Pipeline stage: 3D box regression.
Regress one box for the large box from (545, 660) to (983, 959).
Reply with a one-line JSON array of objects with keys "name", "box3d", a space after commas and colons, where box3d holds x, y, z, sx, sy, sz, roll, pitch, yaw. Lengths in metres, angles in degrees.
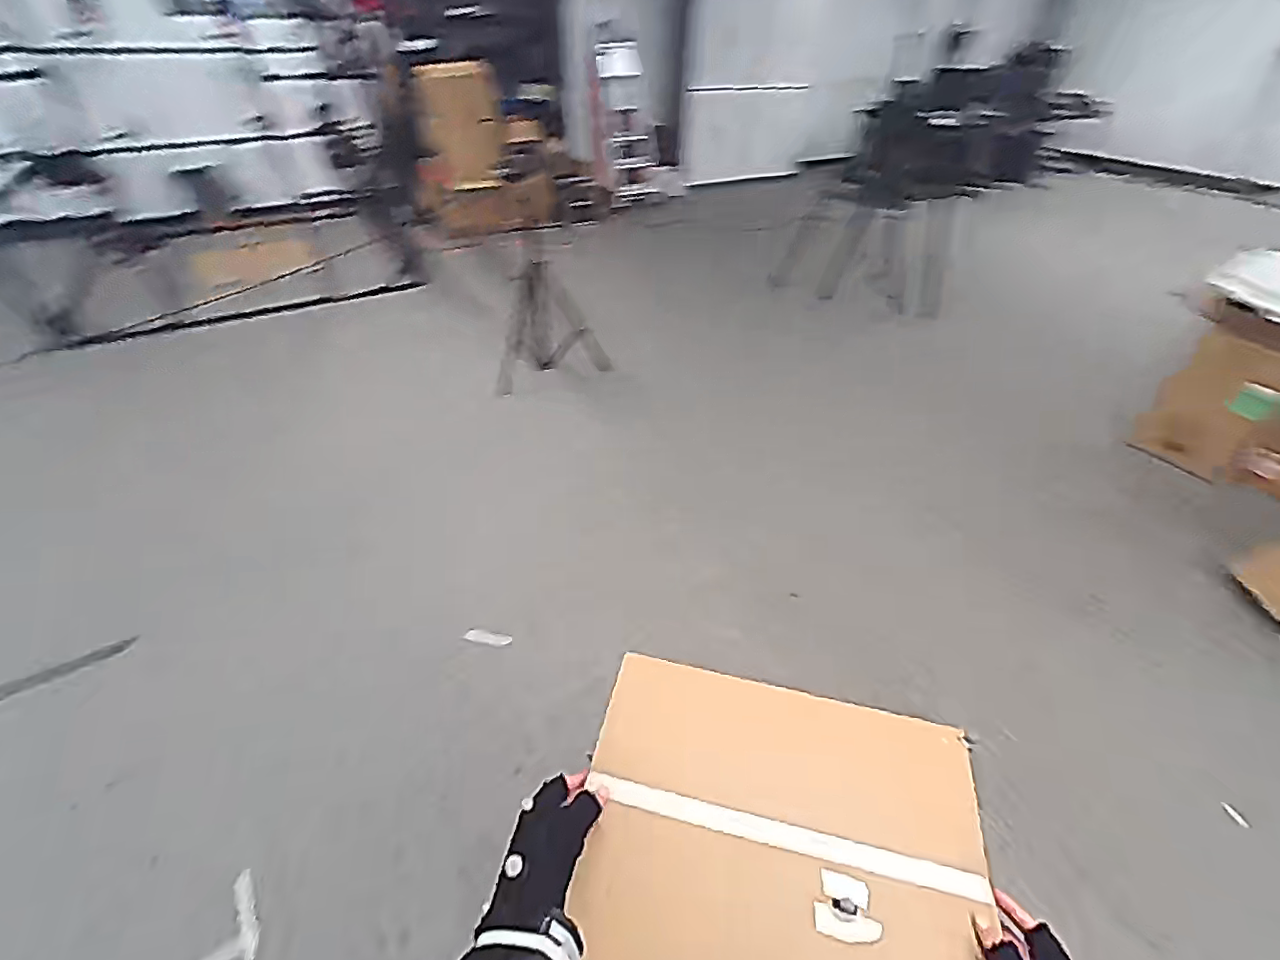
[{"name": "large box", "box3d": [0.132, 0.470, 0.672, 0.408, 0.320, 0.320, 9, 46, 9]}]
